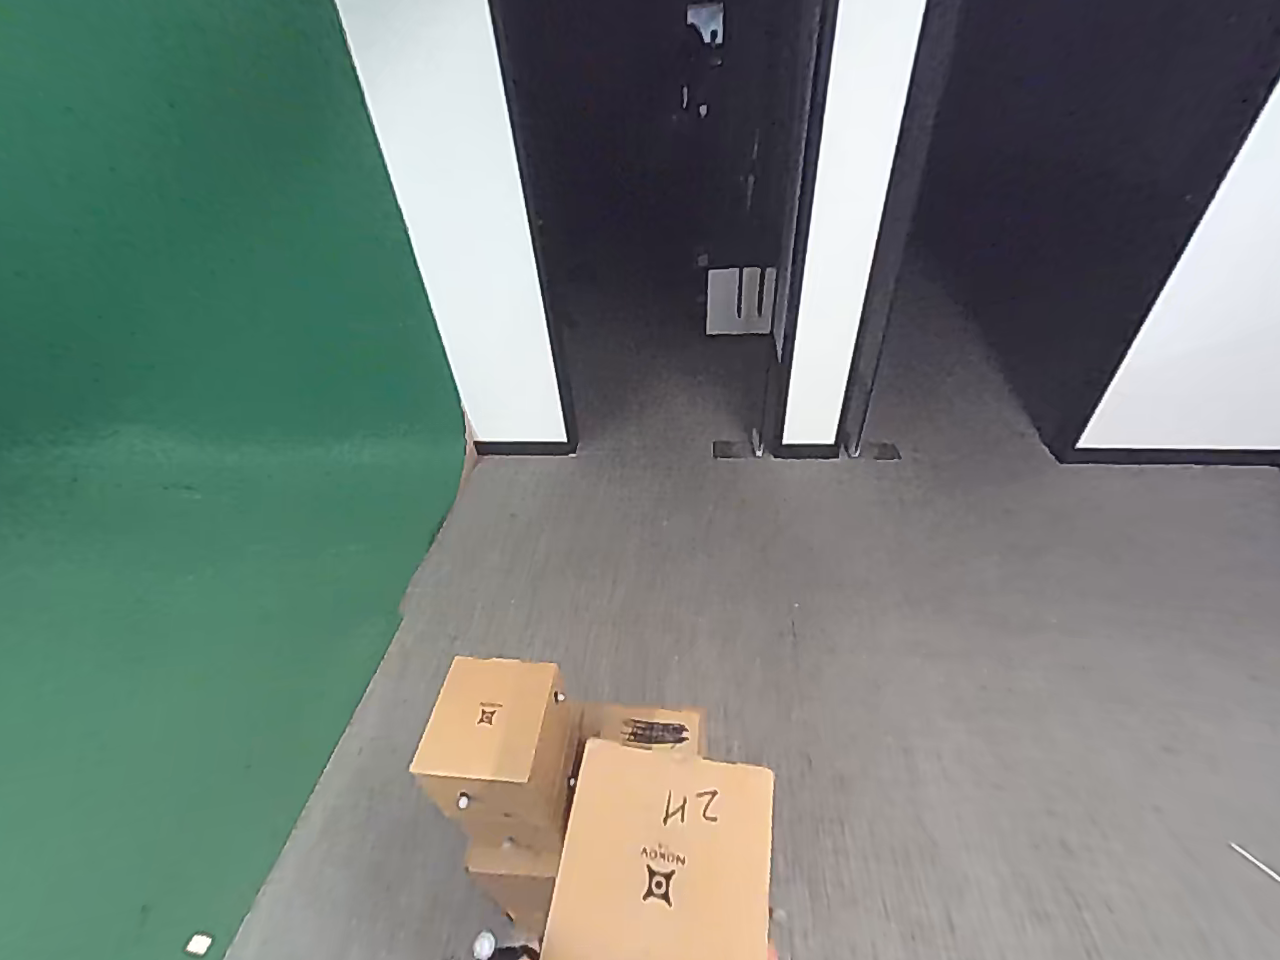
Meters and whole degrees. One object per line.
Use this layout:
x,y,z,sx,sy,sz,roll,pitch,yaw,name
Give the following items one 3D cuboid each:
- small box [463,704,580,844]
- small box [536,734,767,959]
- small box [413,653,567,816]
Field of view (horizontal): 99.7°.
-0.205,0.509,0.952,0.168,0.176,0.179,3,43,7,small box
0.026,0.357,0.497,0.168,0.176,0.179,5,55,13,small box
-0.215,0.394,0.836,0.168,0.176,0.179,2,42,6,small box
